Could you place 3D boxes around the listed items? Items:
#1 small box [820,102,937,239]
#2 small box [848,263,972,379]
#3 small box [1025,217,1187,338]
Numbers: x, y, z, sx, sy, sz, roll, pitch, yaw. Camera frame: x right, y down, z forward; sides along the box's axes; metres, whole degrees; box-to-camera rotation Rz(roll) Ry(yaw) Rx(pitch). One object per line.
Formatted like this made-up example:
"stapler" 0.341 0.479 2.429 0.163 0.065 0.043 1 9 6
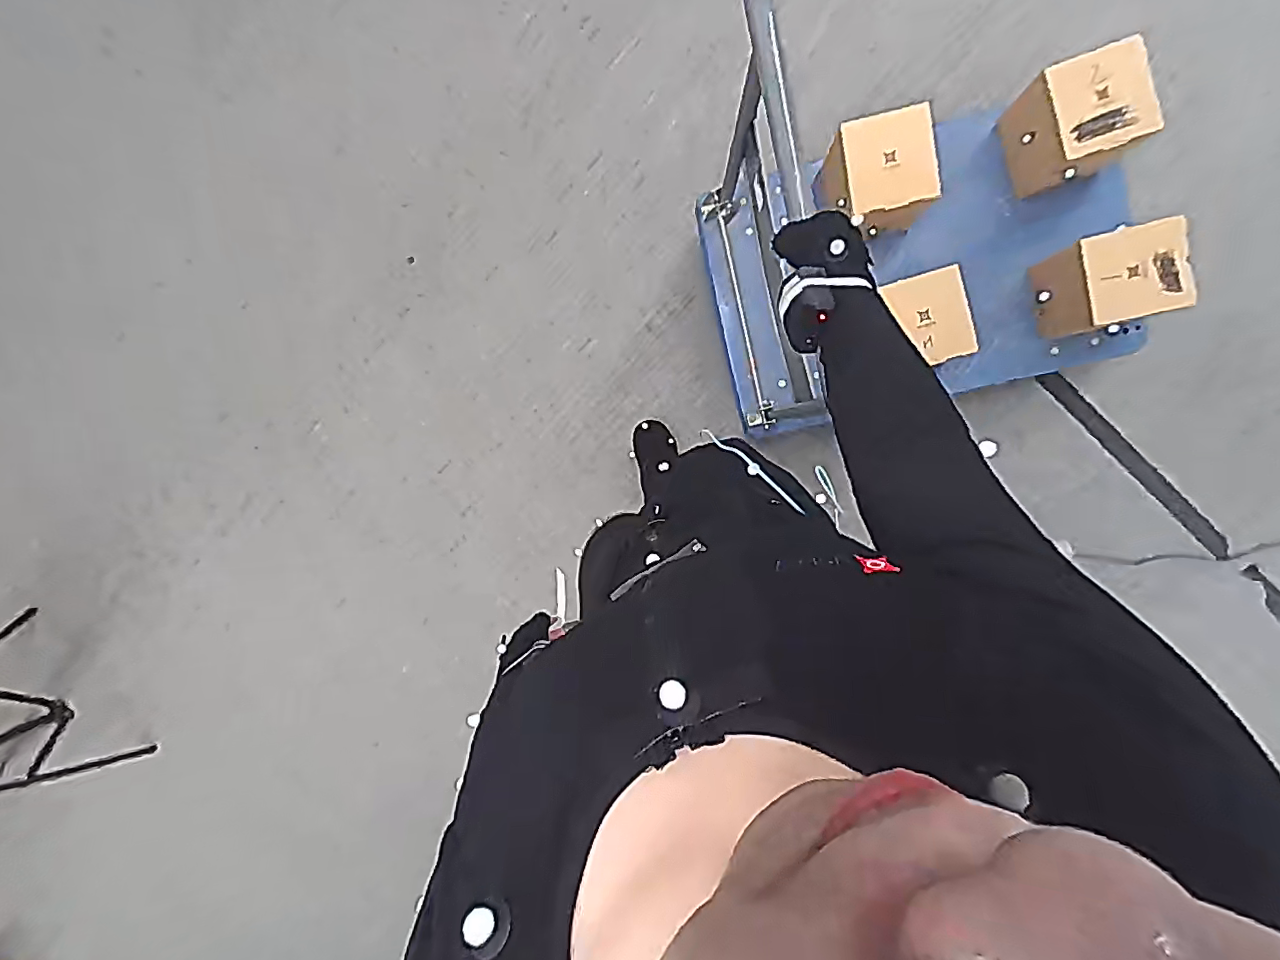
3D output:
"small box" 0.479 -0.623 1.109 0.168 0.176 0.179 -10 96 7
"small box" 0.552 -0.322 1.129 0.168 0.176 0.179 -14 94 8
"small box" 0.919 -0.394 1.079 0.179 0.176 0.168 -12 94 9
